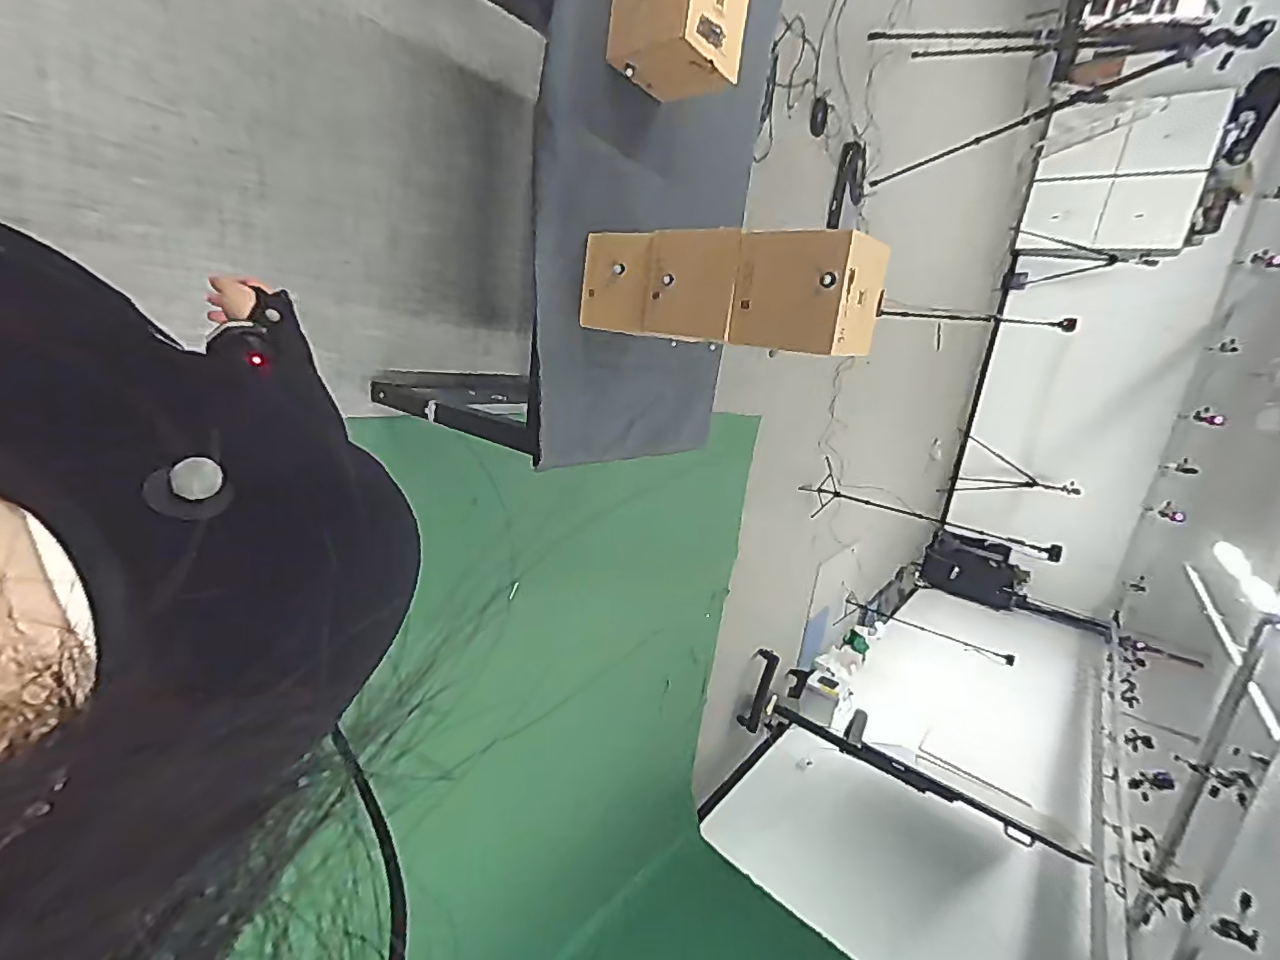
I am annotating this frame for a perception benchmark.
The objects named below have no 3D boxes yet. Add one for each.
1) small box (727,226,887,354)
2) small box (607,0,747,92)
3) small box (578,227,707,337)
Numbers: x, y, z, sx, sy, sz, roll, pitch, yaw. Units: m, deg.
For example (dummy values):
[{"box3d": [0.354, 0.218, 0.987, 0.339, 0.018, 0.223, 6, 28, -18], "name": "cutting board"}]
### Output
[{"box3d": [0.256, -0.288, 0.835, 0.179, 0.176, 0.168, -16, 116, -50], "name": "small box"}, {"box3d": [0.062, -0.797, 0.917, 0.168, 0.176, 0.179, -9, 111, -51], "name": "small box"}, {"box3d": [0.001, -0.369, 1.026, 0.179, 0.176, 0.168, -11, 113, -51], "name": "small box"}]
